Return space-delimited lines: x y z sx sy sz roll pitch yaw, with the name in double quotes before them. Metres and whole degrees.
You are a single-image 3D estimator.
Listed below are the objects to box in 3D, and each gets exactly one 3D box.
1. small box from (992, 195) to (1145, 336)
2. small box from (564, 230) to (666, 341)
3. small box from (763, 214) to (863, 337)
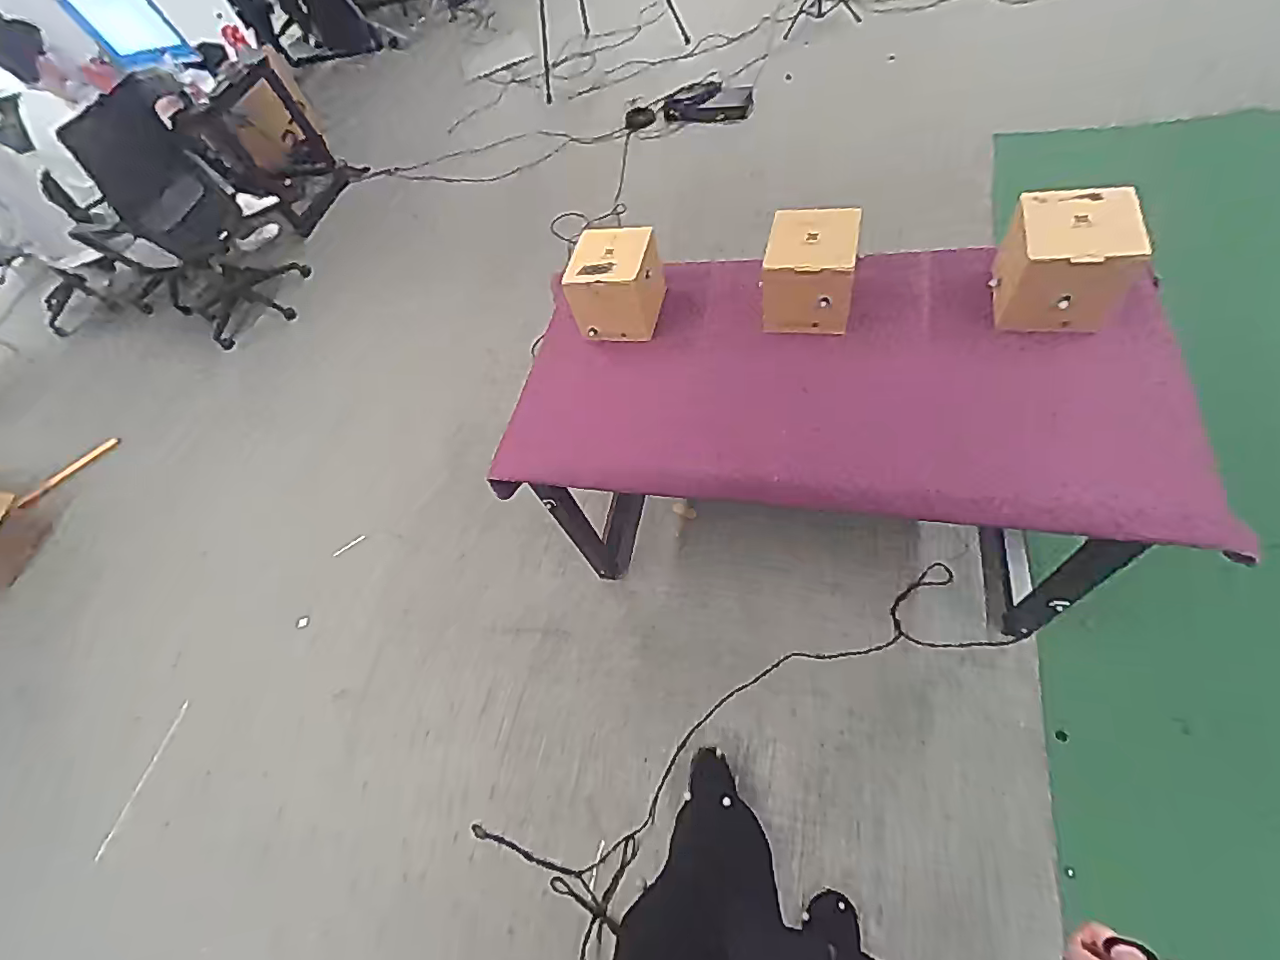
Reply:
"small box" 0.755 -0.378 0.974 0.168 0.176 0.179 7 63 18
"small box" -0.046 -0.431 1.214 0.168 0.176 0.179 6 60 17
"small box" 0.351 -0.413 1.104 0.168 0.176 0.179 8 61 18
